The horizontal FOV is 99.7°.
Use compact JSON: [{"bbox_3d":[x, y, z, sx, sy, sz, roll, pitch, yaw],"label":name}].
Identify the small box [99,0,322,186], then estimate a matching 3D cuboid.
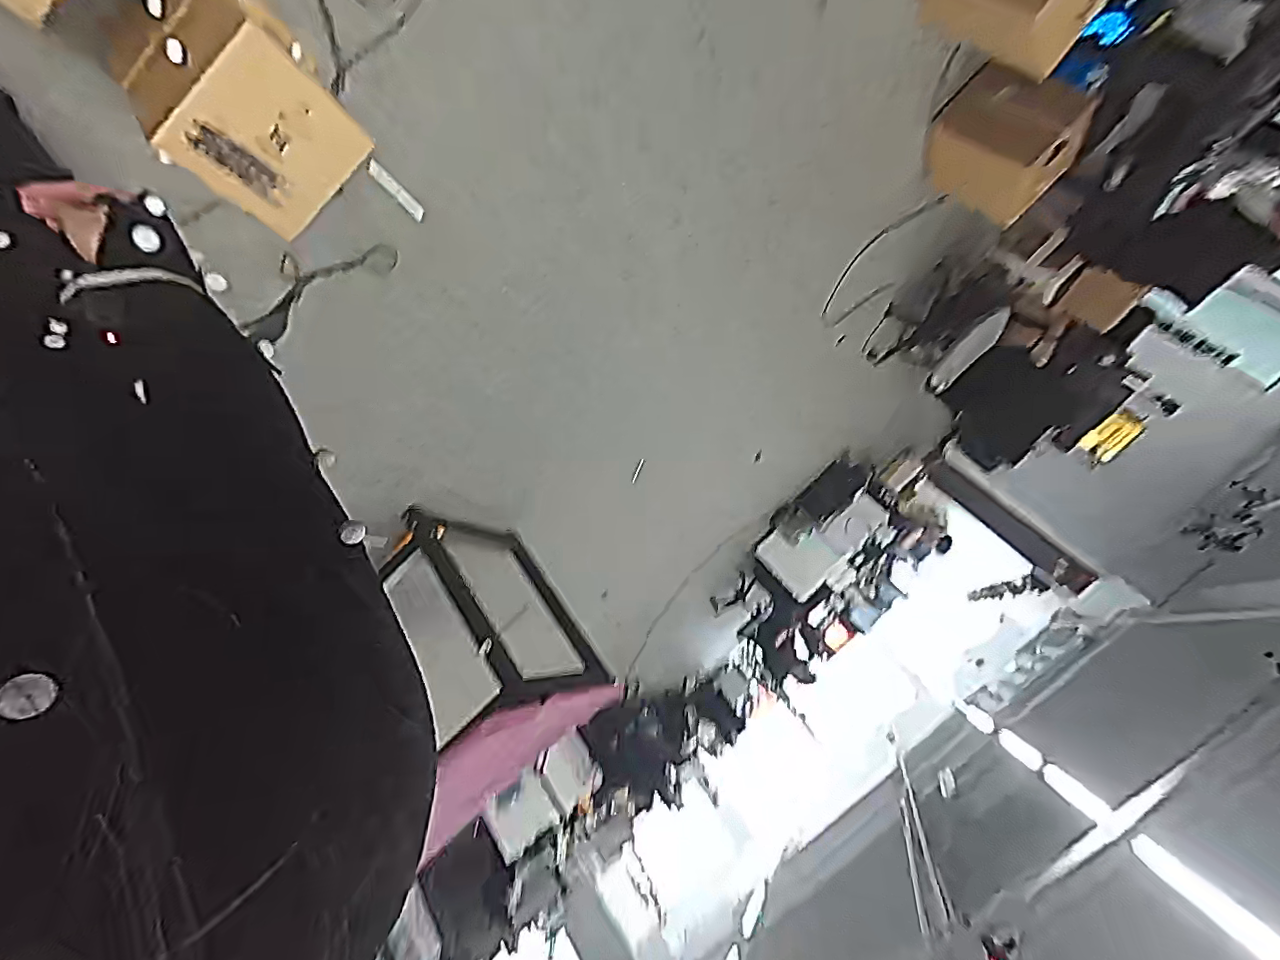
[{"bbox_3d":[-0.594,-0.565,0.748,0.179,0.176,0.168,-44,154,6],"label":"small box"}]
